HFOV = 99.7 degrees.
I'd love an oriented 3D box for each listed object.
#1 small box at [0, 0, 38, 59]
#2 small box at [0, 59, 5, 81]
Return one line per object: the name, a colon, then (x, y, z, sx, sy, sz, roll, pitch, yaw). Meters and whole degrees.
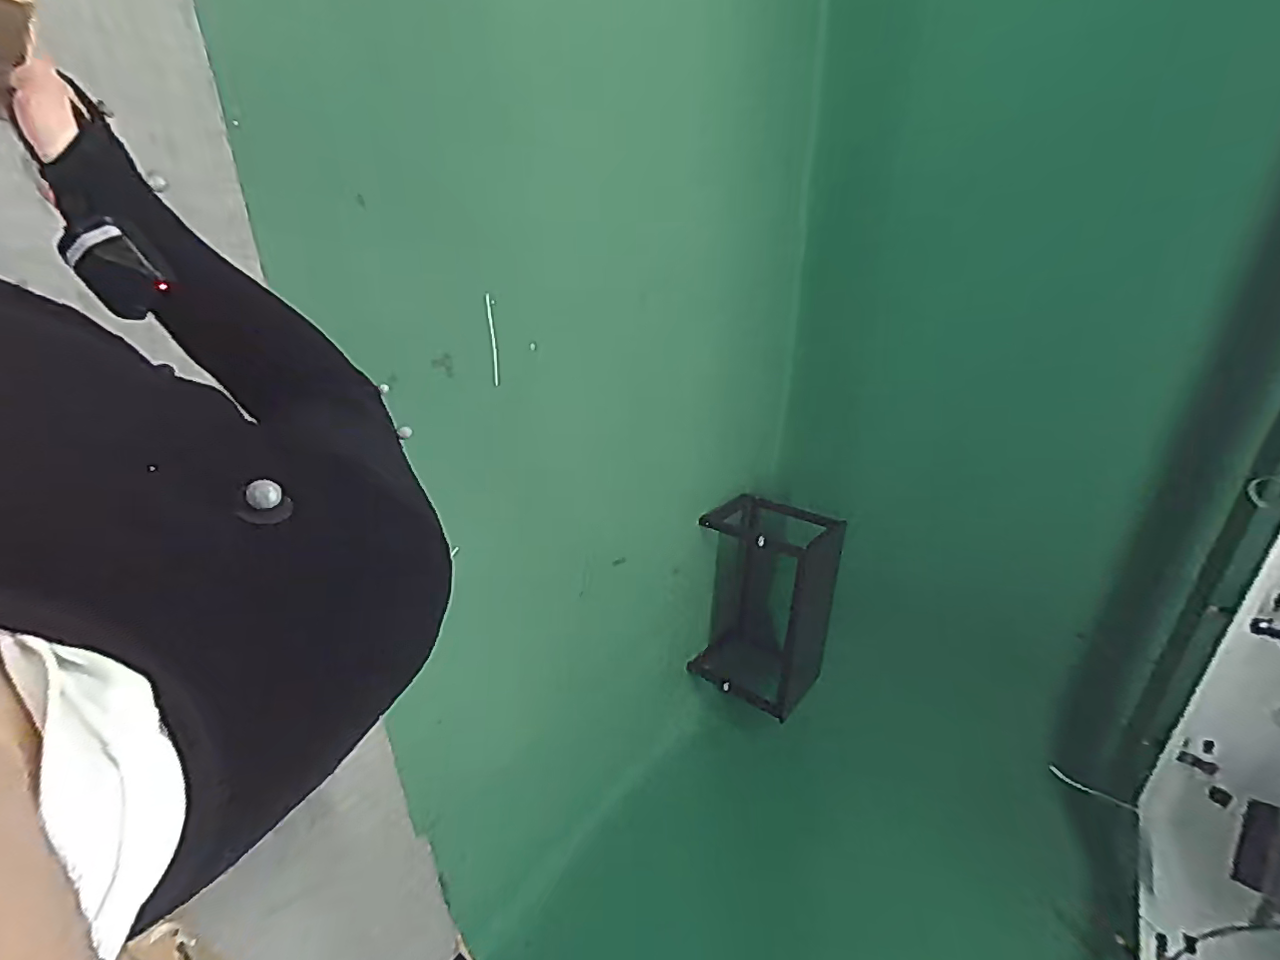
small box: (-0.368, -0.308, 0.206, 0.168, 0.176, 0.179, -10, 114, -47)
small box: (-0.491, -0.357, 0.303, 0.168, 0.176, 0.179, -8, 113, -49)
